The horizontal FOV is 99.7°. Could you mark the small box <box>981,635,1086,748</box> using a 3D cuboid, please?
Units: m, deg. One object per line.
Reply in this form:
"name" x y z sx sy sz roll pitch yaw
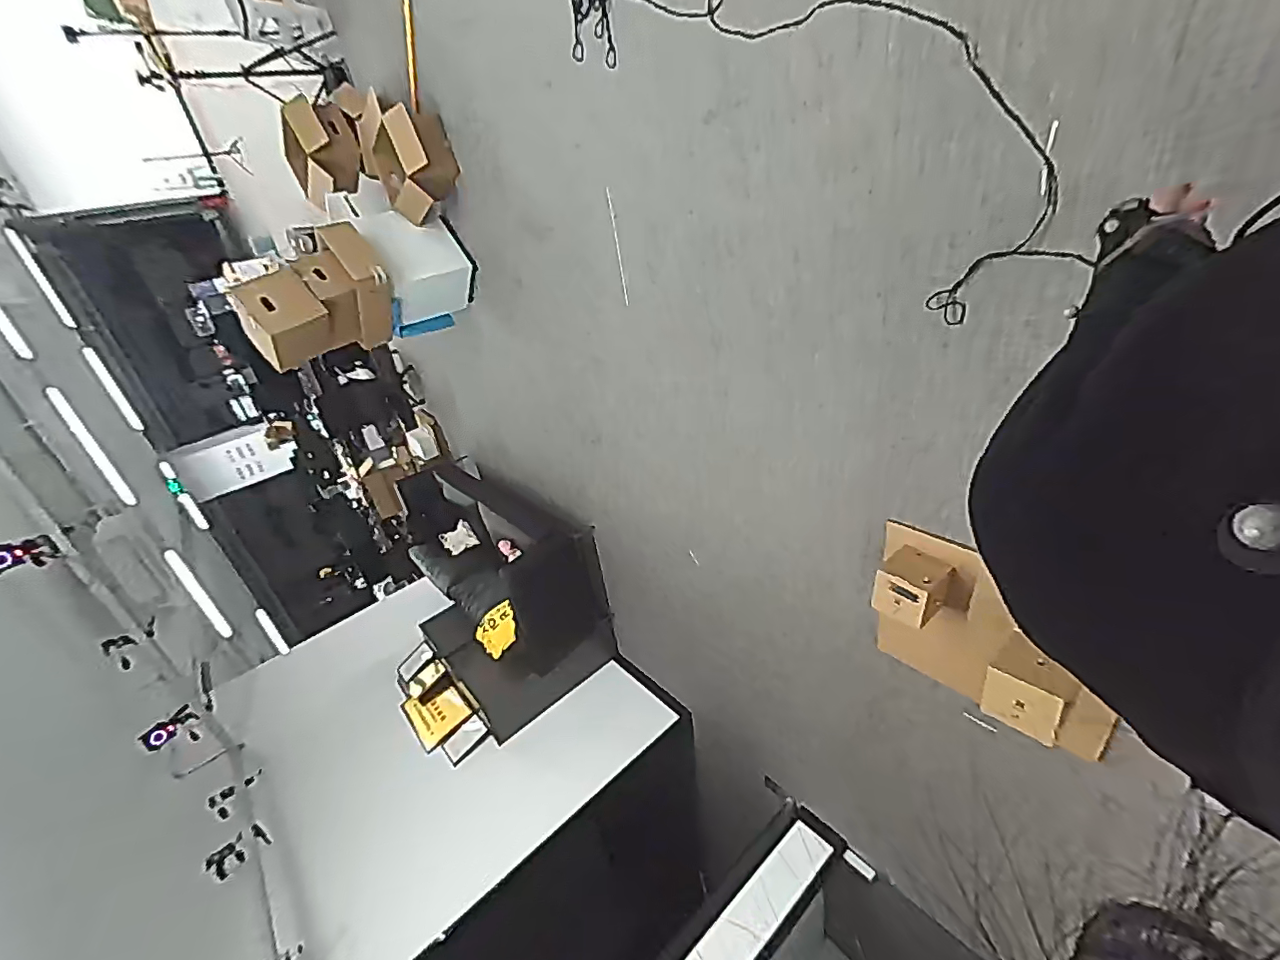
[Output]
"small box" 1.017 0.536 1.397 0.168 0.176 0.179 23 133 47
